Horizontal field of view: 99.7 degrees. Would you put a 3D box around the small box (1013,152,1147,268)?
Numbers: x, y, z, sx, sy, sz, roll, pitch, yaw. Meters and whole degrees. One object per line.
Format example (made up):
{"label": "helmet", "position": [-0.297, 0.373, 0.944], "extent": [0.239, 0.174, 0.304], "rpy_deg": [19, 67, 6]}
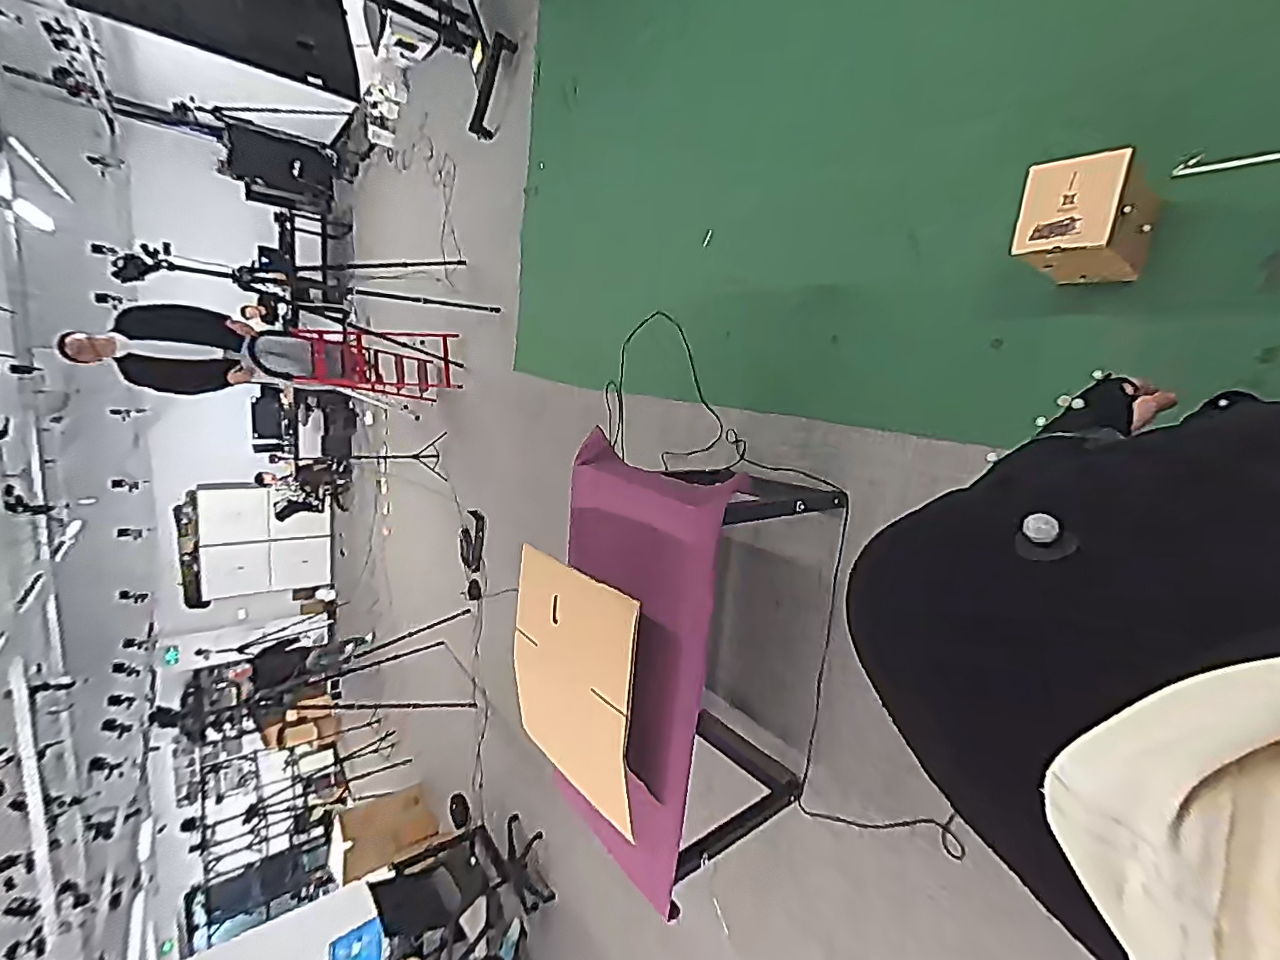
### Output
{"label": "small box", "position": [0.922, -0.550, 1.132], "extent": [0.168, 0.176, 0.179], "rpy_deg": [19, 107, 49]}

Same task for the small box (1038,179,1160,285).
{"label": "small box", "position": [1.050, -0.555, 1.235], "extent": [0.168, 0.176, 0.179], "rpy_deg": [20, 107, 50]}
